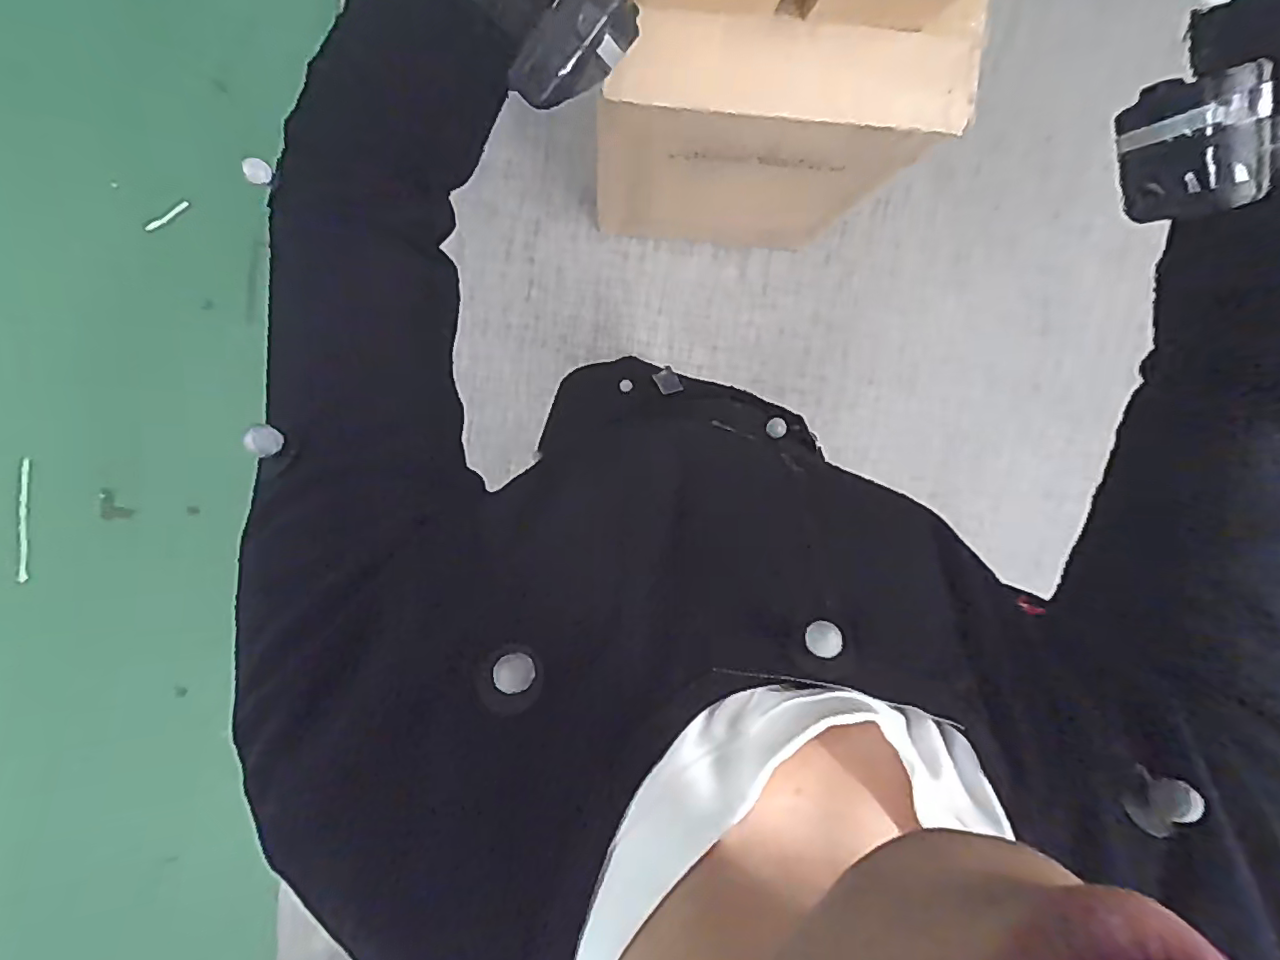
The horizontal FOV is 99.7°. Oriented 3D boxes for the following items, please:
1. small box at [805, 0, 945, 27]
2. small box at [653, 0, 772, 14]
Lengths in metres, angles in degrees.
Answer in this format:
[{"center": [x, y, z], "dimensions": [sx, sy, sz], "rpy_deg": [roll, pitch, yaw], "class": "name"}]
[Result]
[{"center": [0.312, -0.677, 0.639], "dimensions": [0.179, 0.176, 0.168], "rpy_deg": [-1, 106, -6], "class": "small box"}, {"center": [0.098, -0.681, 0.620], "dimensions": [0.179, 0.176, 0.168], "rpy_deg": [1, 105, -6], "class": "small box"}]
